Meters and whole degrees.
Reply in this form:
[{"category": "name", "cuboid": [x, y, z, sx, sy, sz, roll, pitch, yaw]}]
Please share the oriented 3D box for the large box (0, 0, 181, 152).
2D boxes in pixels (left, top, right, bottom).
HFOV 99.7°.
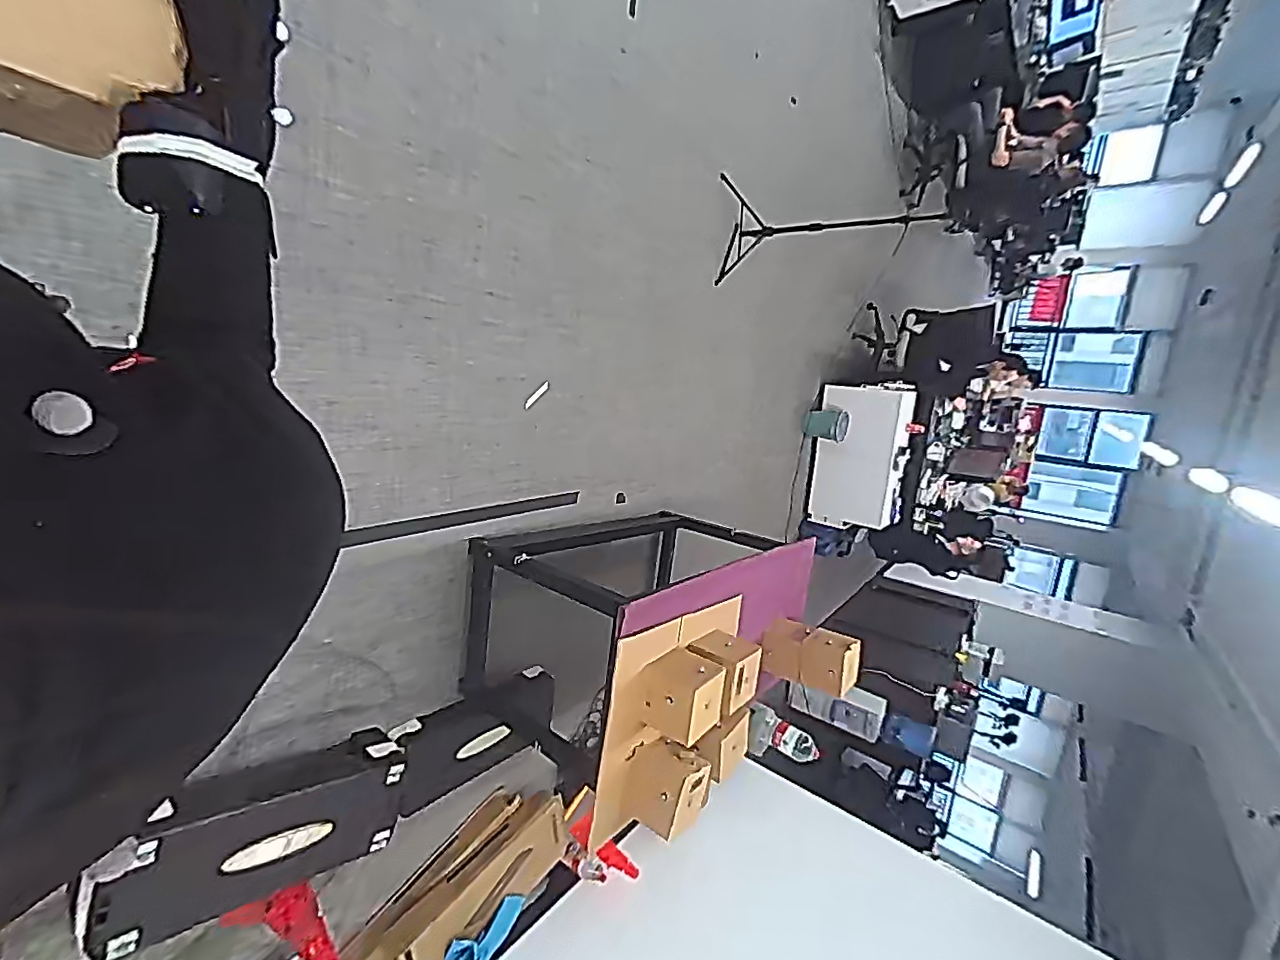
[{"category": "large box", "cuboid": [-0.550, -0.436, 0.296, 0.408, 0.320, 0.320, -4, 110, -54]}]
